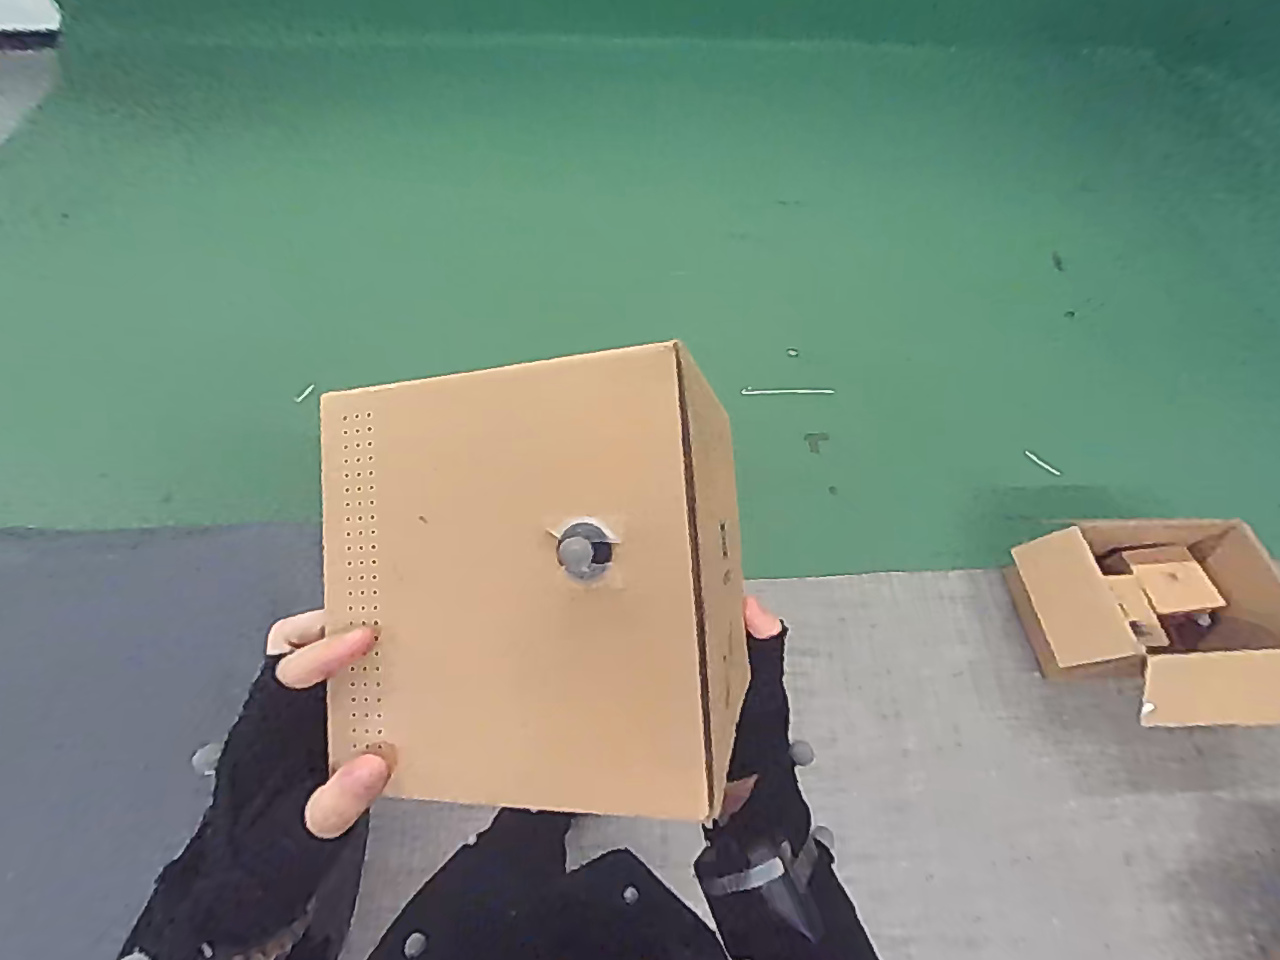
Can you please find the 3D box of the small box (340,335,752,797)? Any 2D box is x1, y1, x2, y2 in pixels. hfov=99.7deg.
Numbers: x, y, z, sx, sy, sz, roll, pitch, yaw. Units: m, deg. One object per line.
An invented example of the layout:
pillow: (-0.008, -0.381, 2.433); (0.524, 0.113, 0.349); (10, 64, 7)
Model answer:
small box: (-0.035, 0.042, 0.295); (0.176, 0.168, 0.179); (-4, 85, 15)
